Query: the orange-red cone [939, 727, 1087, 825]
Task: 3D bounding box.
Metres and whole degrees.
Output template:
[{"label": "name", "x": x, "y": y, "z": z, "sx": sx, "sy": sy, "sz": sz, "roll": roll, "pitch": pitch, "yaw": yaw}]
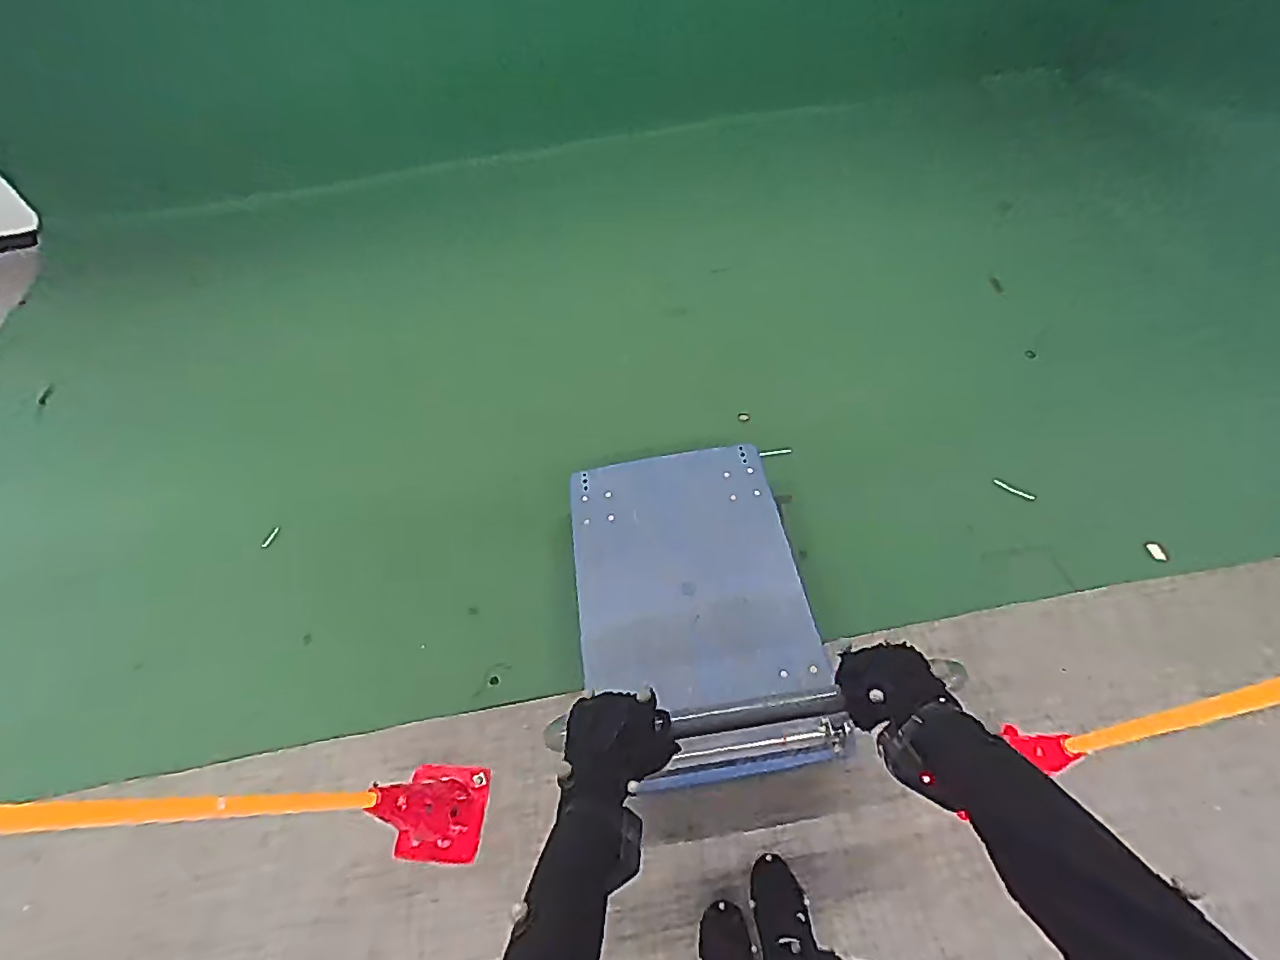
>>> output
[{"label": "orange-red cone", "x": 0.796, "y": 0.580, "z": 1.107, "sx": 0.198, "sy": 0.360, "sz": 0.199, "roll": -2, "pitch": 55, "yaw": 6}]
